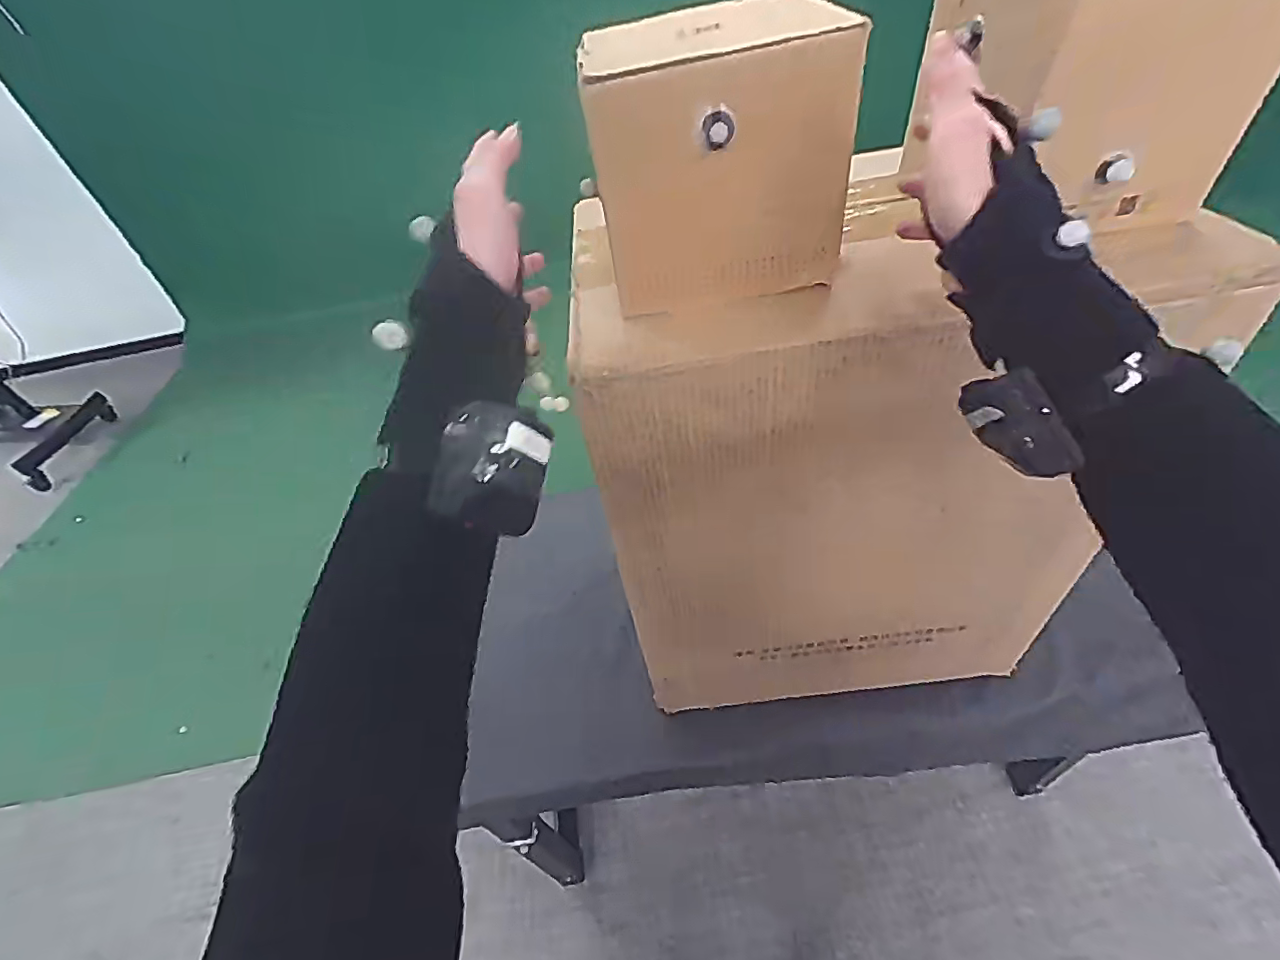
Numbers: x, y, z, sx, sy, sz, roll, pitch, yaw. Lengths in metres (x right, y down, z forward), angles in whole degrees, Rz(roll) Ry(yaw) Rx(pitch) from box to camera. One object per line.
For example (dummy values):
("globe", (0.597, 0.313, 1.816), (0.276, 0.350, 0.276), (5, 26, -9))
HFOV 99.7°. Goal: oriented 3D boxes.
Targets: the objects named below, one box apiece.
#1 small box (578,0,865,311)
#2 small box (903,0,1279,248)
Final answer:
("small box", (0.056, -0.254, 0.433), (0.179, 0.176, 0.168), (-8, 48, 4))
("small box", (0.339, -0.308, 0.432), (0.168, 0.176, 0.179), (-7, 48, 2))
